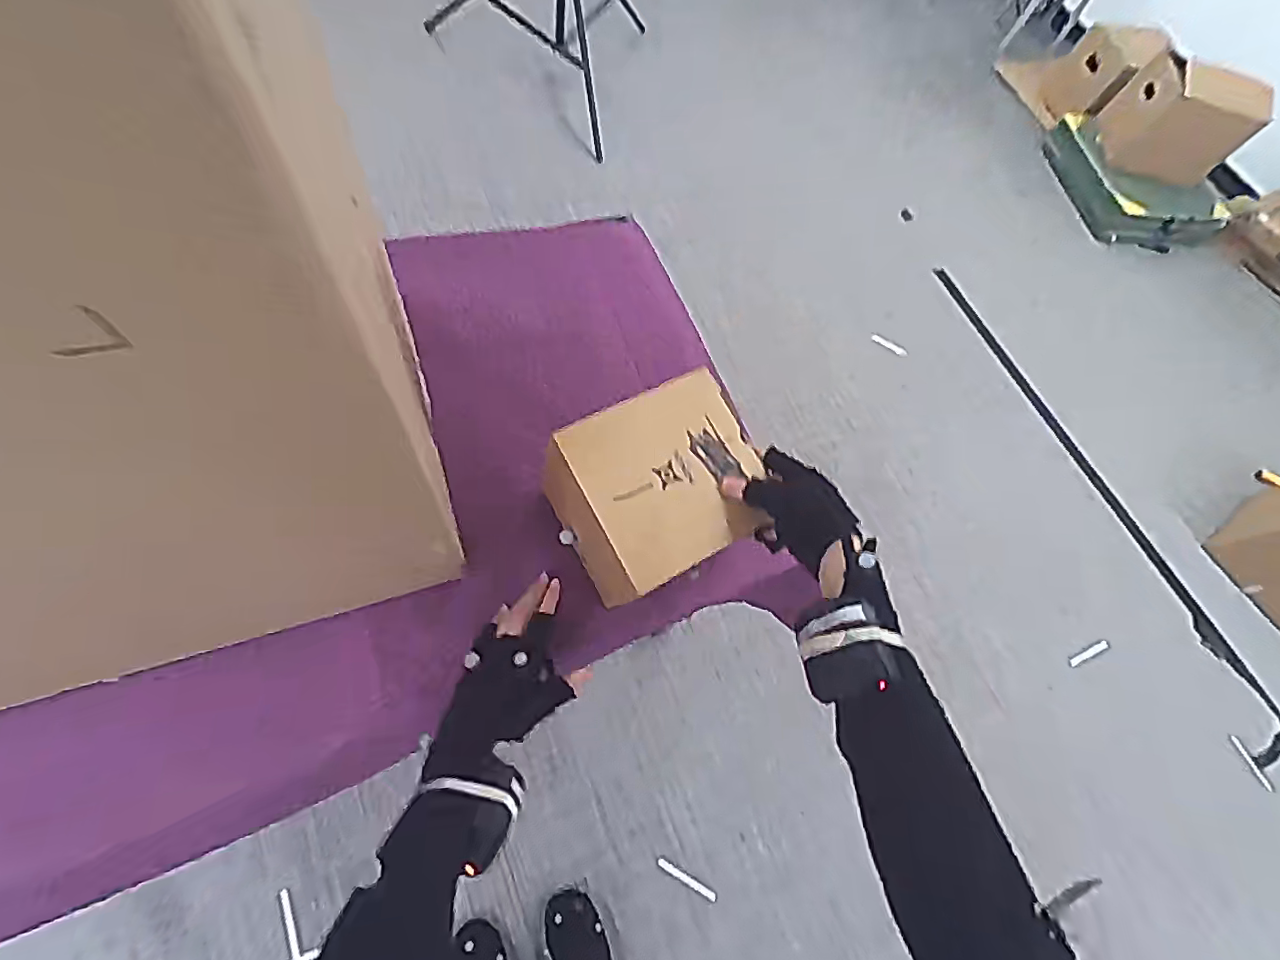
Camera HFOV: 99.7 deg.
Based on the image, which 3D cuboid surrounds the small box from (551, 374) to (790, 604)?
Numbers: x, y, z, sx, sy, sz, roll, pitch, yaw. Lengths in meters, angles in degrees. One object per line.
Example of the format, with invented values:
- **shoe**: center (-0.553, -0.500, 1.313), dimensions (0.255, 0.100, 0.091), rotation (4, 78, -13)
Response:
- **small box**: center (0.018, 0.018, 0.579), dimensions (0.179, 0.176, 0.168), rotation (-25, 80, -18)
